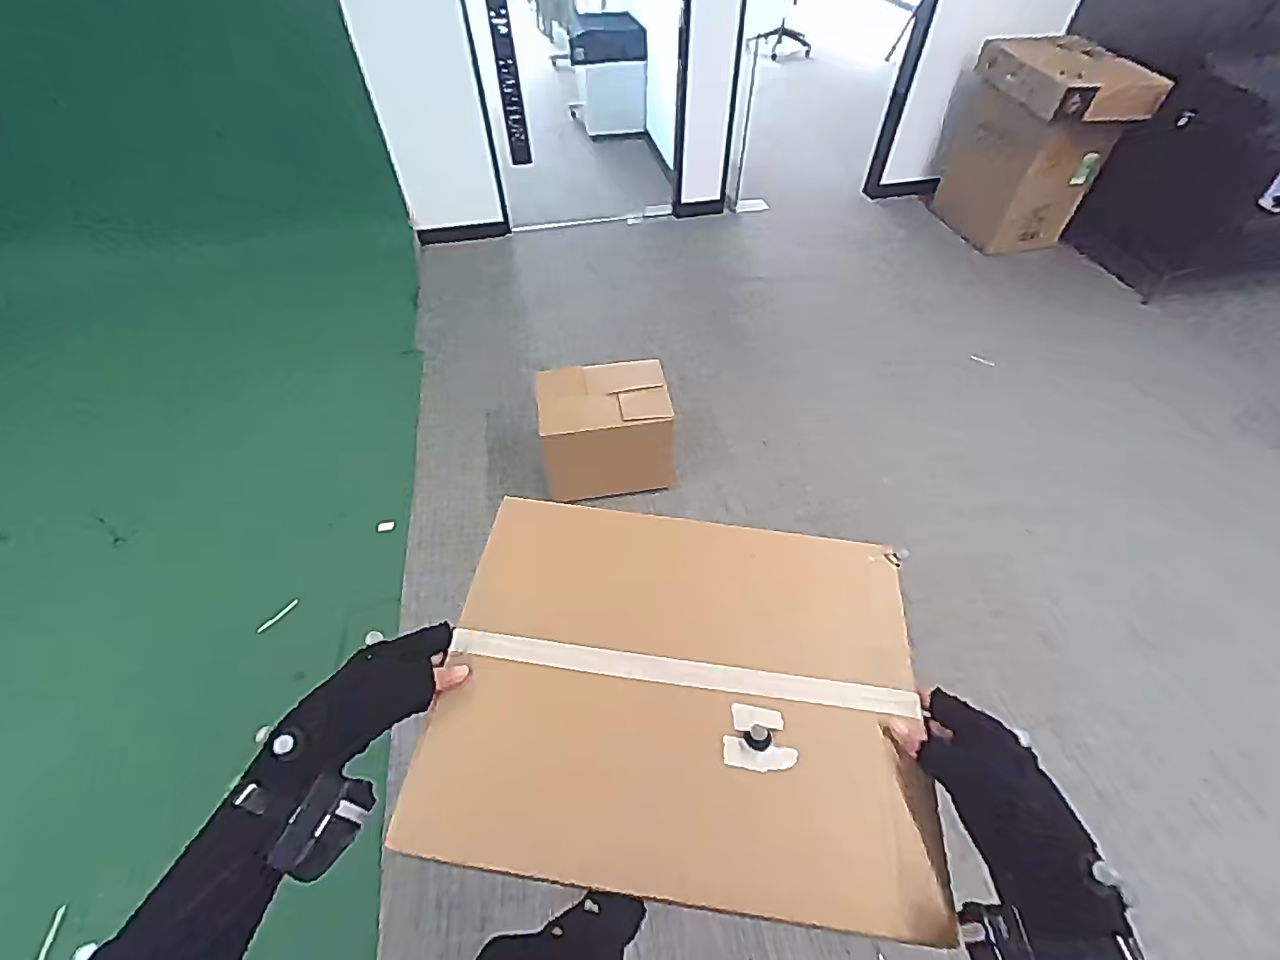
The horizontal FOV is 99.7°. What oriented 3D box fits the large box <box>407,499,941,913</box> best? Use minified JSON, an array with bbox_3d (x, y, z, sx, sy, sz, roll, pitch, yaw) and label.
[{"bbox_3d":[0.031,0.253,0.600,0.408,0.320,0.320,8,54,3],"label":"large box"}]
